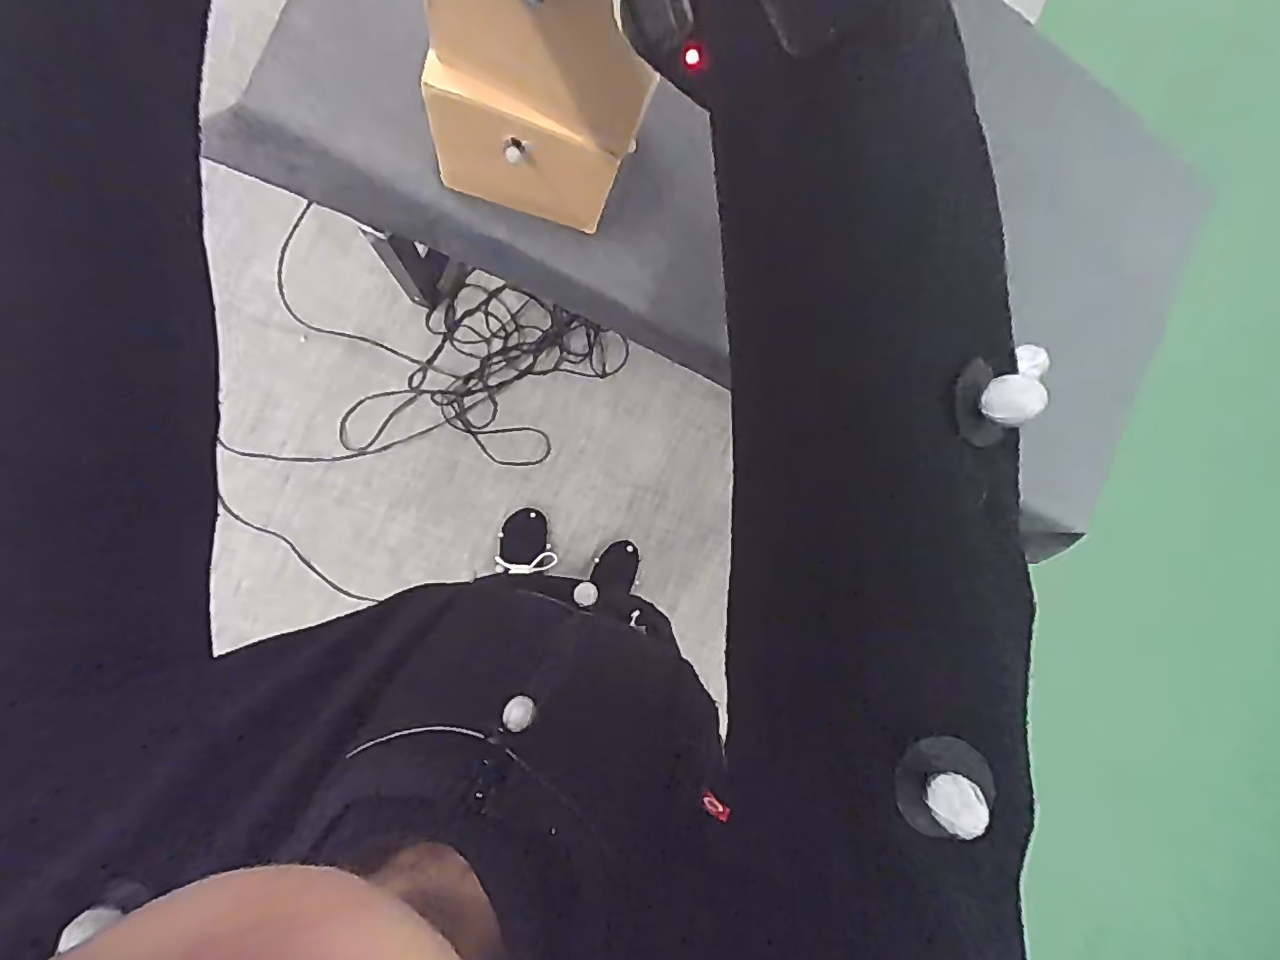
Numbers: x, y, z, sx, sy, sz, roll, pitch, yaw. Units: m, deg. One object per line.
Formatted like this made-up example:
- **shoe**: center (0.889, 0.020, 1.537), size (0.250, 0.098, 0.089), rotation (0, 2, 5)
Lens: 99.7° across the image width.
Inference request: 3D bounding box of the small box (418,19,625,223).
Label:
- **small box**: center (-0.100, -0.387, 0.541), size (0.179, 0.176, 0.168), rotation (13, 88, -13)

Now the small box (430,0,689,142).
- **small box**: center (-0.046, -0.391, 0.387), size (0.179, 0.176, 0.168), rotation (22, 88, -13)
